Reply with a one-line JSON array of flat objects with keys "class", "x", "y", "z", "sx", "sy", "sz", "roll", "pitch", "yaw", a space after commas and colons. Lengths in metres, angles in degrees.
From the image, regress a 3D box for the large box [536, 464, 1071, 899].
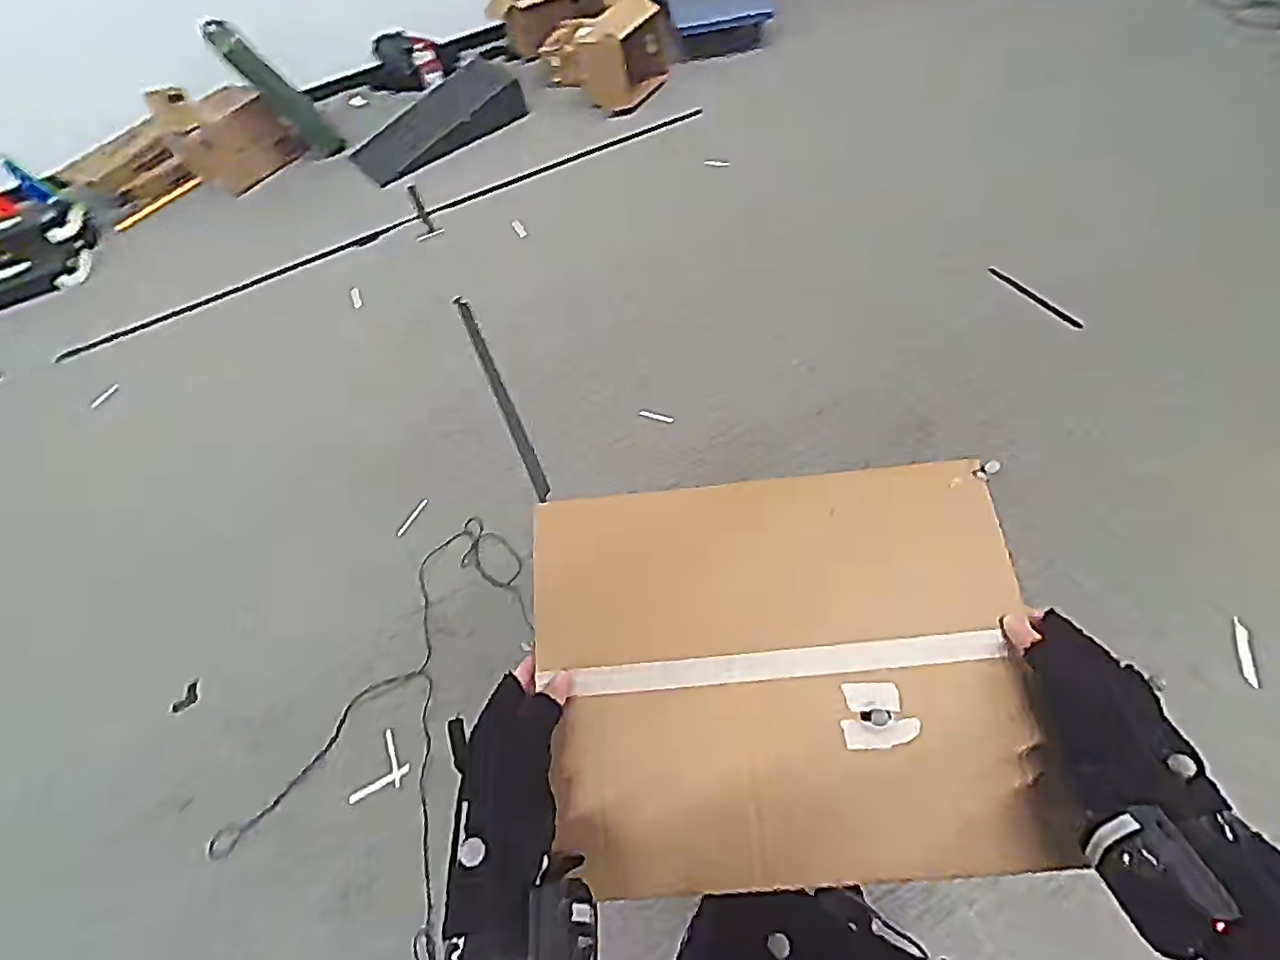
[{"class": "large box", "x": 0.122, "y": 0.201, "z": 0.600, "sx": 0.408, "sy": 0.320, "sz": 0.320, "roll": -7, "pitch": 72, "yaw": 1}]
